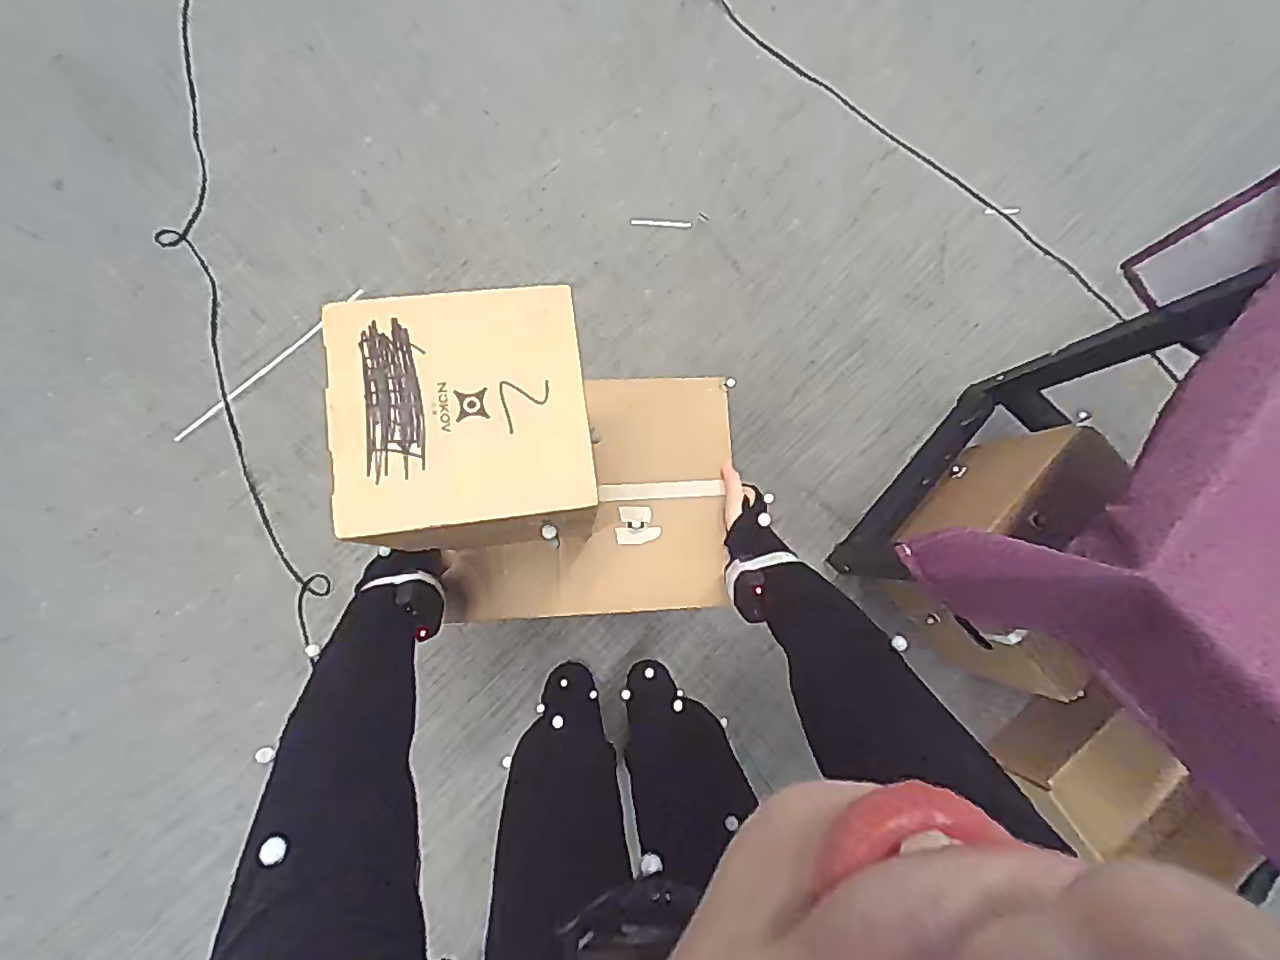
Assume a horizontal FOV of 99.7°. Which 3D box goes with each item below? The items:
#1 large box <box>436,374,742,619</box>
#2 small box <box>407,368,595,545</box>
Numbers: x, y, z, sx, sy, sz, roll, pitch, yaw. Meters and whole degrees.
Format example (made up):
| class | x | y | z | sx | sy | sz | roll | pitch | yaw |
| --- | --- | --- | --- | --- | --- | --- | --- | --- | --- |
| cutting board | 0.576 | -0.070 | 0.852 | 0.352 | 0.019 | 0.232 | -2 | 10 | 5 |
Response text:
| class | x | y | z | sx | sy | sz | roll | pitch | yaw |
| --- | --- | --- | --- | --- | --- | --- | --- | --- | --- |
| large box | -0.085 | 0.034 | 0.866 | 0.408 | 0.320 | 0.320 | -2 | 83 | -6 |
| small box | -0.147 | -0.017 | 0.621 | 0.179 | 0.176 | 0.168 | -6 | 82 | -5 |
